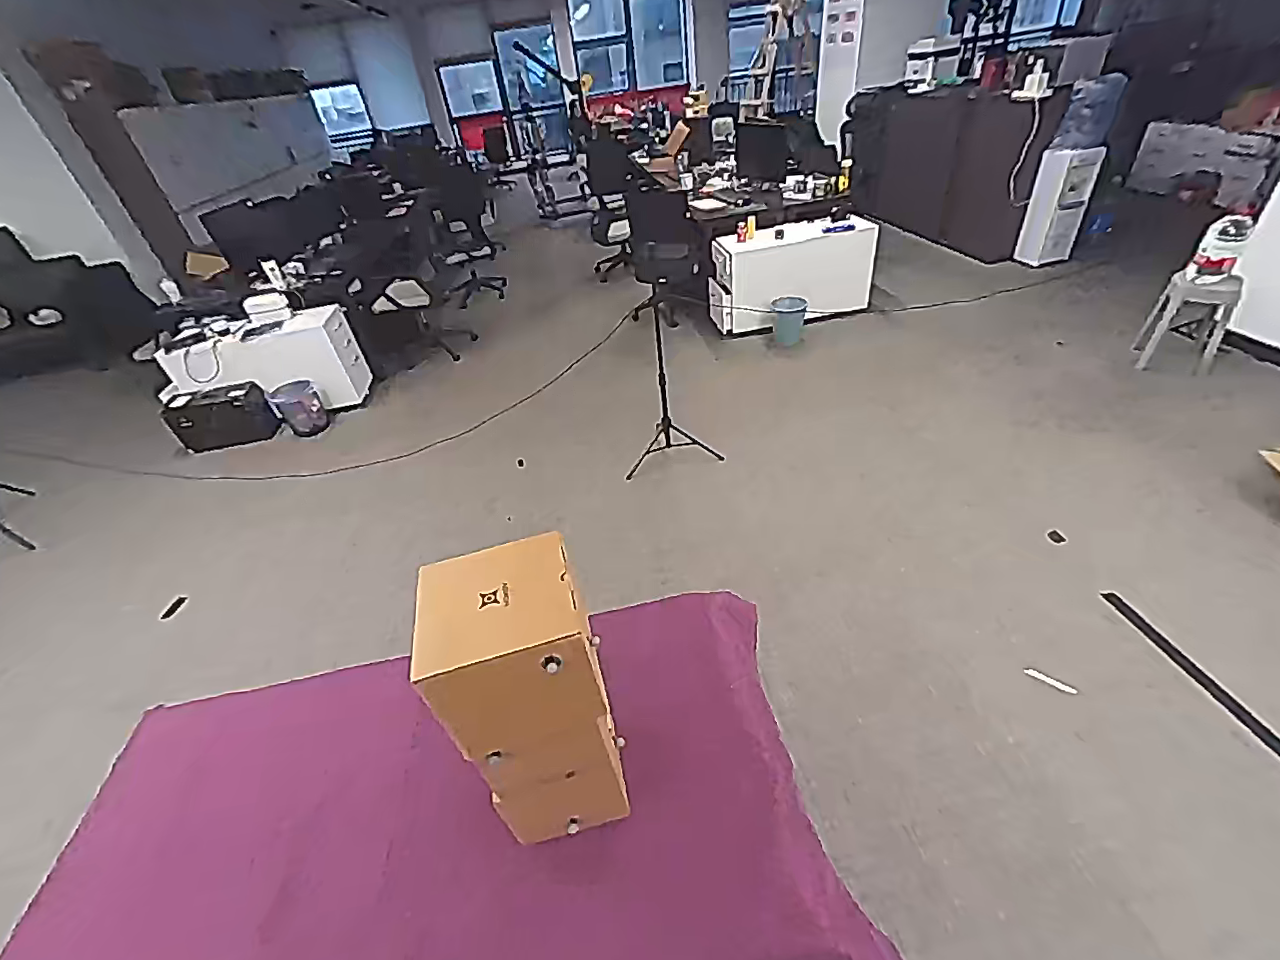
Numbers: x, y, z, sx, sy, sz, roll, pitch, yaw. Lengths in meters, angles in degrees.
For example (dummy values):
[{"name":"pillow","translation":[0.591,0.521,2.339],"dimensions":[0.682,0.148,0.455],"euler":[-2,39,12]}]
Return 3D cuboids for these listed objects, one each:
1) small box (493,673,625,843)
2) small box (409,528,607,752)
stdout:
[{"name":"small box","translation":[-0.124,0.437,0.856],"dimensions":[0.179,0.176,0.168],"euler":[-12,37,-6]},{"name":"small box","translation":[-0.149,0.189,0.642],"dimensions":[0.179,0.176,0.168],"euler":[-15,38,-8]}]
